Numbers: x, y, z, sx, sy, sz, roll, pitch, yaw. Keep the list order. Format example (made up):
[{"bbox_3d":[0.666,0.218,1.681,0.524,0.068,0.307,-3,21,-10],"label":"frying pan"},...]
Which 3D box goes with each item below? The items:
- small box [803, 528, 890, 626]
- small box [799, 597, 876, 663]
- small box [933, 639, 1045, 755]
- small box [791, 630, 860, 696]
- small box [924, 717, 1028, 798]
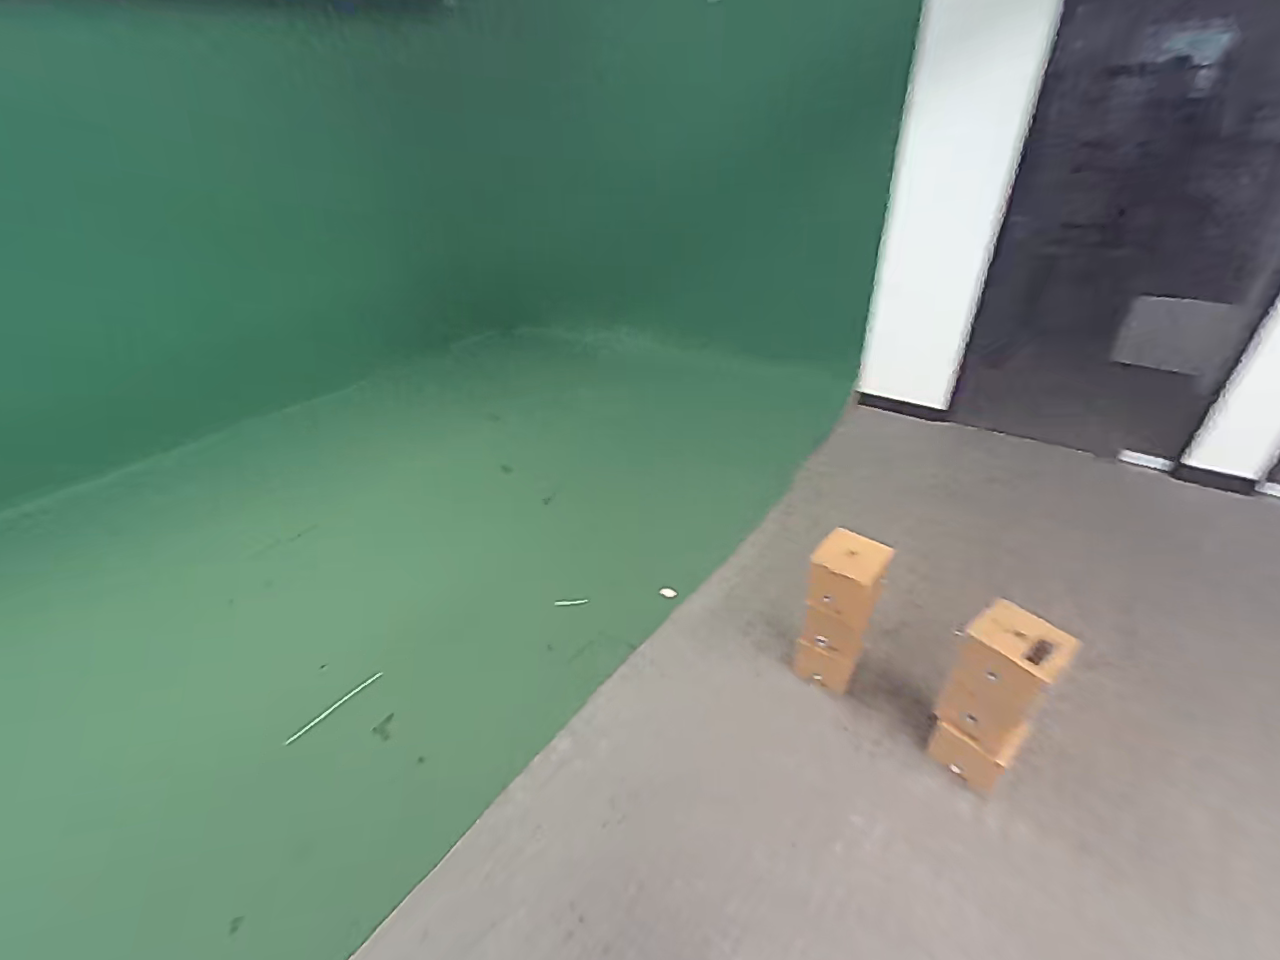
[{"bbox_3d":[0.572,0.270,1.514,0.168,0.176,0.179,24,43,35],"label":"small box"},{"bbox_3d":[0.584,0.402,1.608,0.168,0.176,0.179,19,41,30],"label":"small box"},{"bbox_3d":[0.871,0.549,1.366,0.179,0.176,0.168,-26,40,-28],"label":"small box"},{"bbox_3d":[0.586,0.535,1.700,0.168,0.176,0.179,19,41,30],"label":"small box"},{"bbox_3d":[0.887,0.694,1.441,0.179,0.176,0.168,-29,42,-31],"label":"small box"}]
